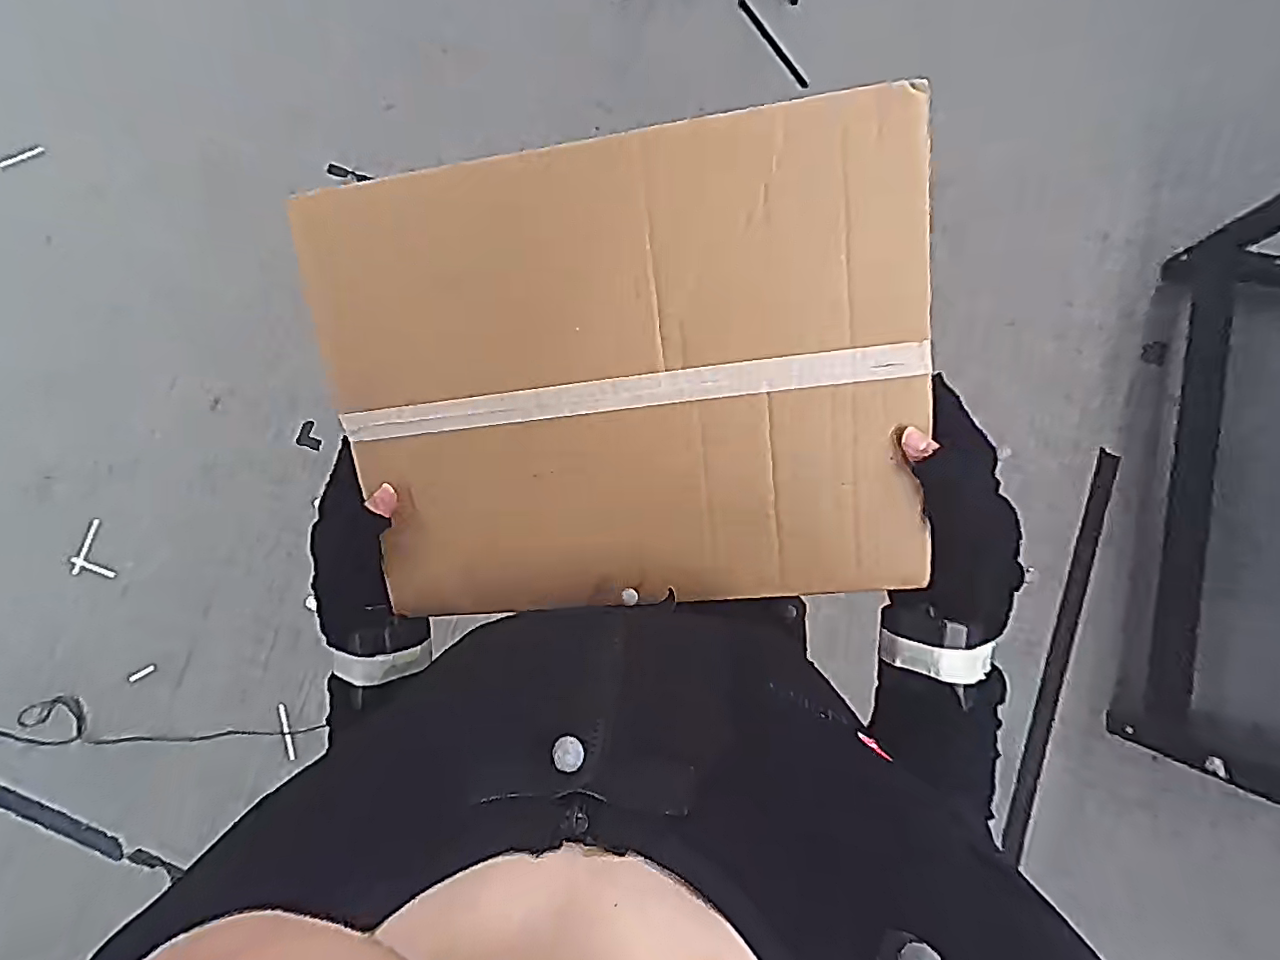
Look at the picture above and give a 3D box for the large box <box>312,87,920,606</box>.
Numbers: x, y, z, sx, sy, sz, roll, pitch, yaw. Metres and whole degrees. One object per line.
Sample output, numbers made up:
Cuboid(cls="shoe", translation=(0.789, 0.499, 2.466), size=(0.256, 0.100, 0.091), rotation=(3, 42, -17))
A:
Cuboid(cls="large box", translation=(0.001, -0.099, 0.521), size=(0.408, 0.320, 0.320), rotation=(-5, 105, 9))
